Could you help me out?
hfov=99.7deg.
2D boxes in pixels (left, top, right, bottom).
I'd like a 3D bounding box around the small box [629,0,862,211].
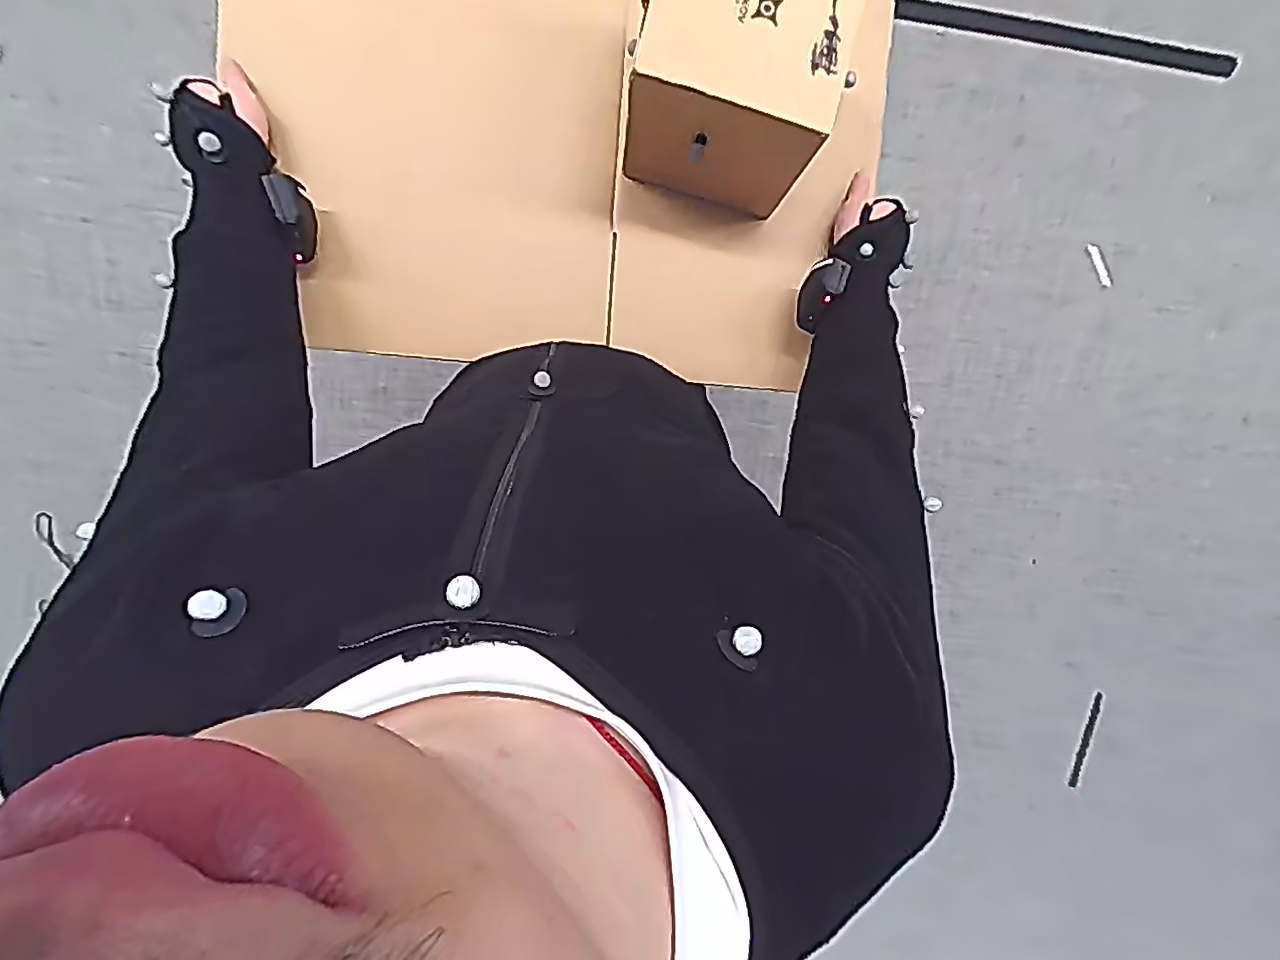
[{"bbox_3d":[0.091,-0.395,0.532,0.179,0.176,0.168,14,92,-4],"label":"small box"}]
